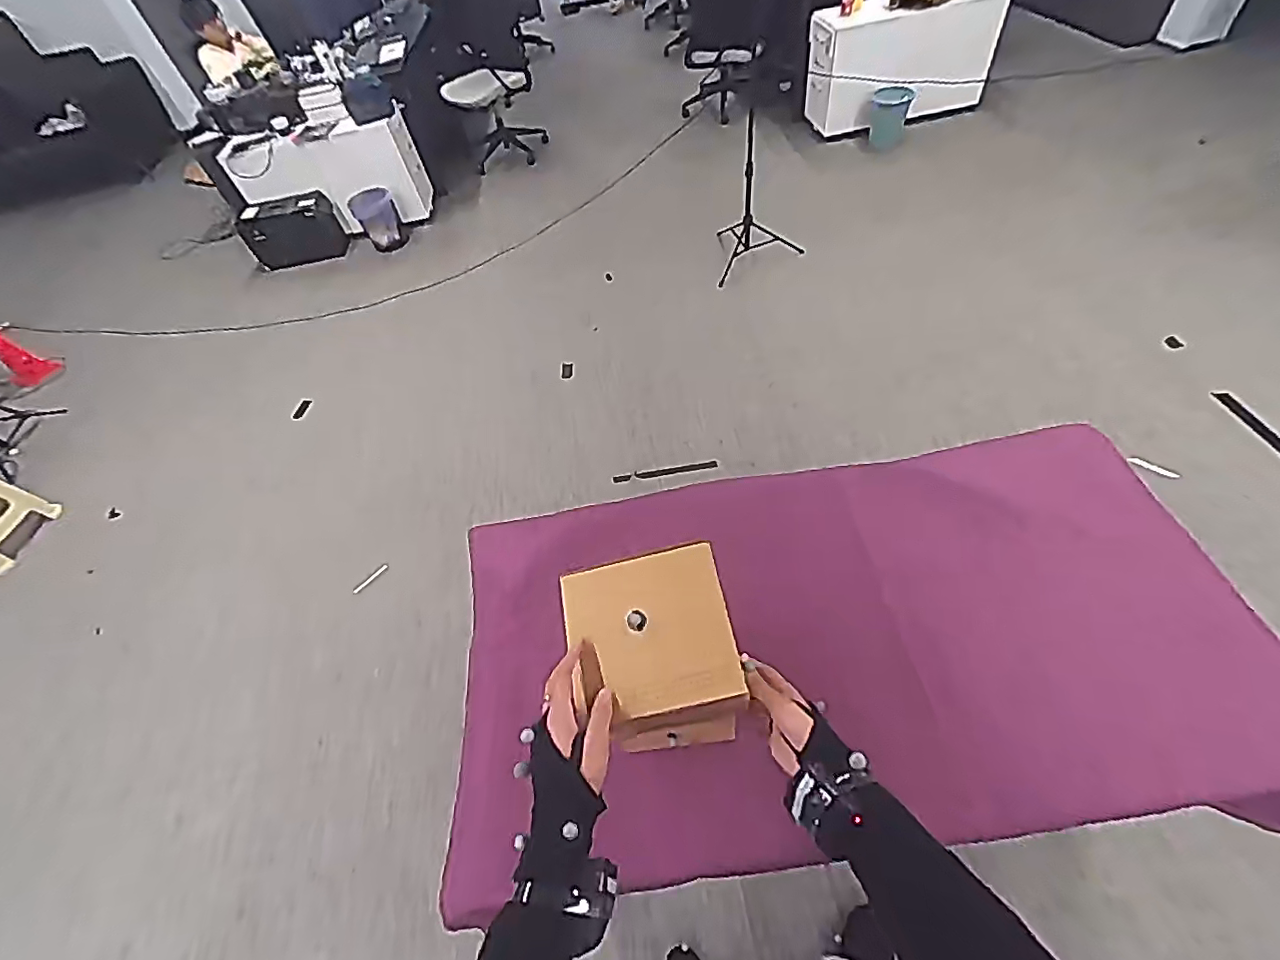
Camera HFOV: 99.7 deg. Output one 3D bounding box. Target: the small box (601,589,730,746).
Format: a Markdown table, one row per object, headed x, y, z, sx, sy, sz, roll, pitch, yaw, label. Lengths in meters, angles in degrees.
| x | y | z | sx | sy | sz | roll | pitch | yaw | label |
| --- | --- | --- | --- | --- | --- | --- | --- | --- | --- |
| 0.040 | 0.284 | 0.802 | 0.168 | 0.176 | 0.179 | -8 | 52 | 3 | small box |
